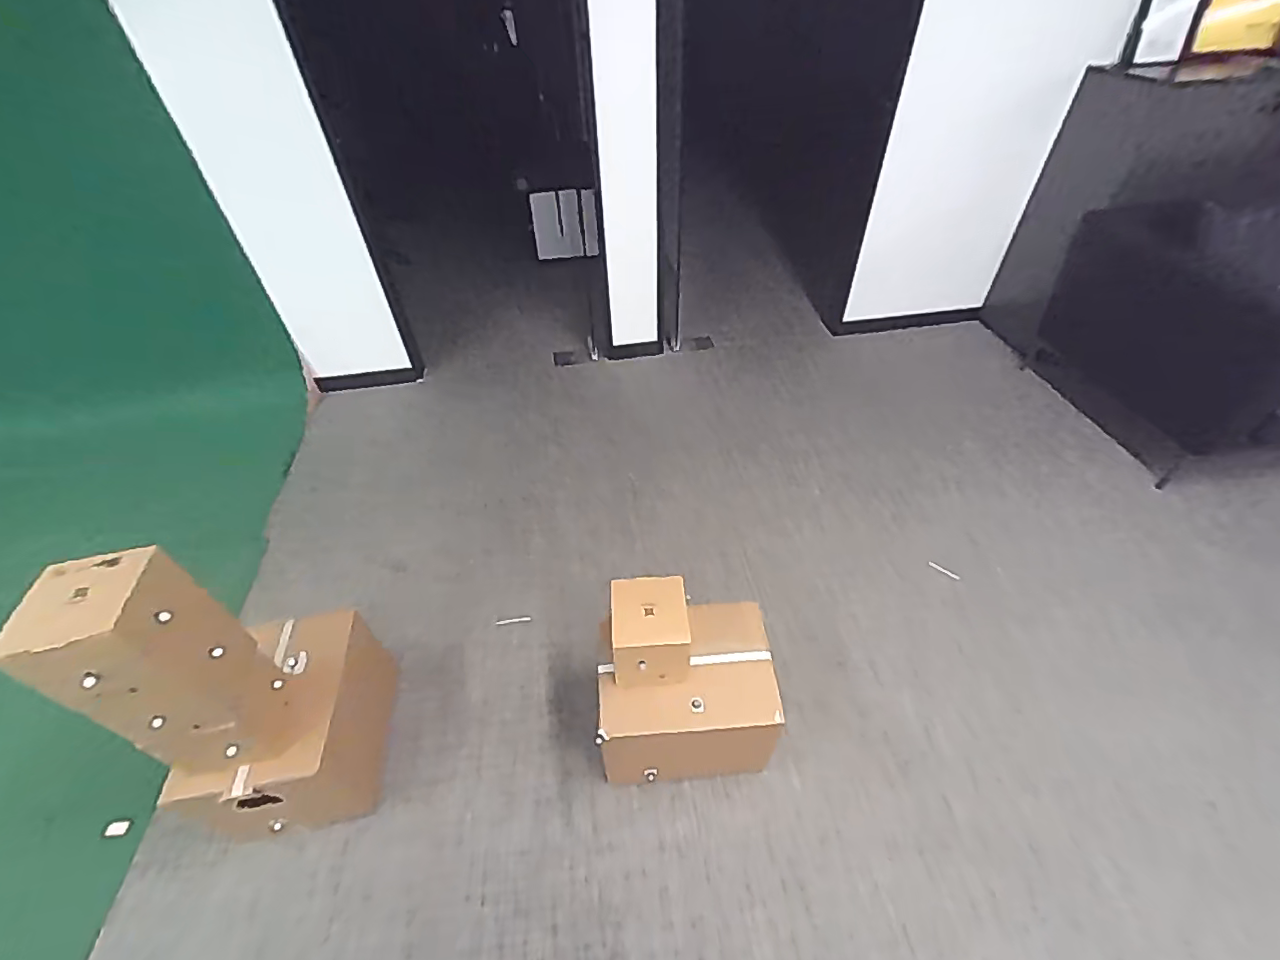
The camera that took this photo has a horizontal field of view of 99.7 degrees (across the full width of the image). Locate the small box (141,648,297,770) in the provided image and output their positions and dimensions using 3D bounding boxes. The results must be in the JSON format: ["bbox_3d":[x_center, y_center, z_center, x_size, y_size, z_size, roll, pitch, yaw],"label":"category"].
[{"bbox_3d":[-0.854,0.476,1.122,0.179,0.176,0.168,-10,44,-6],"label":"small box"}]

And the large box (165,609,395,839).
[{"bbox_3d":[-0.842,0.598,1.345,0.320,0.320,0.408,-8,44,-6],"label":"large box"}]

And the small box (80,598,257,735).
[{"bbox_3d":[-0.860,0.354,1.012,0.168,0.176,0.179,-12,44,-10],"label":"small box"}]

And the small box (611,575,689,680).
[{"bbox_3d":[0.021,0.339,1.225,0.168,0.176,0.179,-3,42,-1],"label":"small box"}]

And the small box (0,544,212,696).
[{"bbox_3d":[-0.863,0.238,0.896,0.168,0.176,0.179,-10,45,-8],"label":"small box"}]
